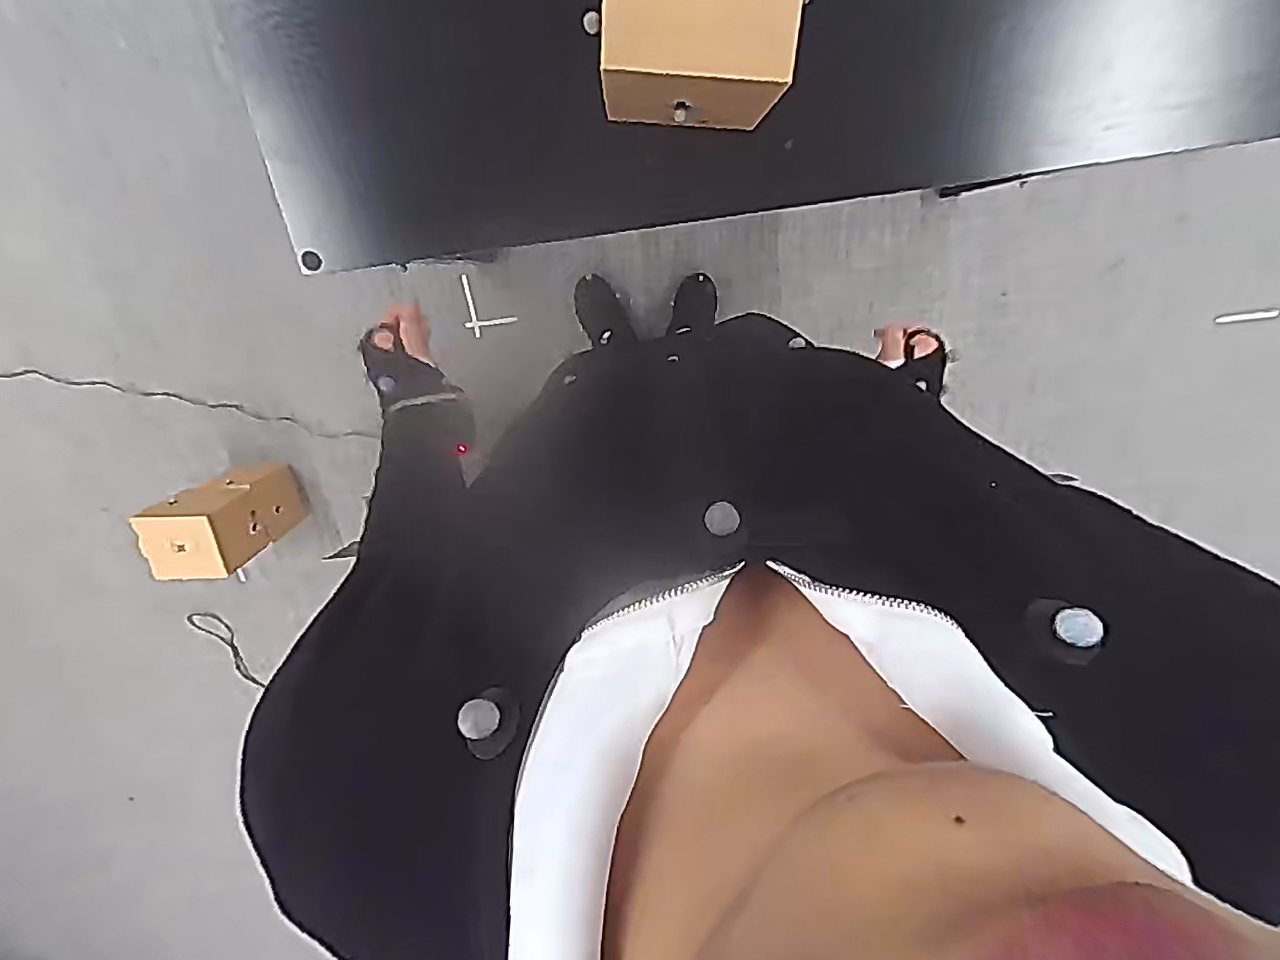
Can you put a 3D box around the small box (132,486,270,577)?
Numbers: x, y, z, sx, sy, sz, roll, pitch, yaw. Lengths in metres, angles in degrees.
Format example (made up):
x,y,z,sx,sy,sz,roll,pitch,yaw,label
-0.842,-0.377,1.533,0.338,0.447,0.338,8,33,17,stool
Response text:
x,y,z,sx,sy,sz,roll,pitch,yaw,label
-1.059,0.122,1.320,0.179,0.176,0.168,-2,112,-1,small box

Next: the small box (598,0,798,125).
x,y,z,sx,sy,sz,roll,pitch,yaw,label
0.051,-0.456,0.507,0.168,0.176,0.179,3,110,-2,small box

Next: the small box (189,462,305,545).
x,y,z,sx,sy,sz,roll,pitch,yaw,label
-1.058,0.066,1.474,0.168,0.176,0.179,-6,112,1,small box
